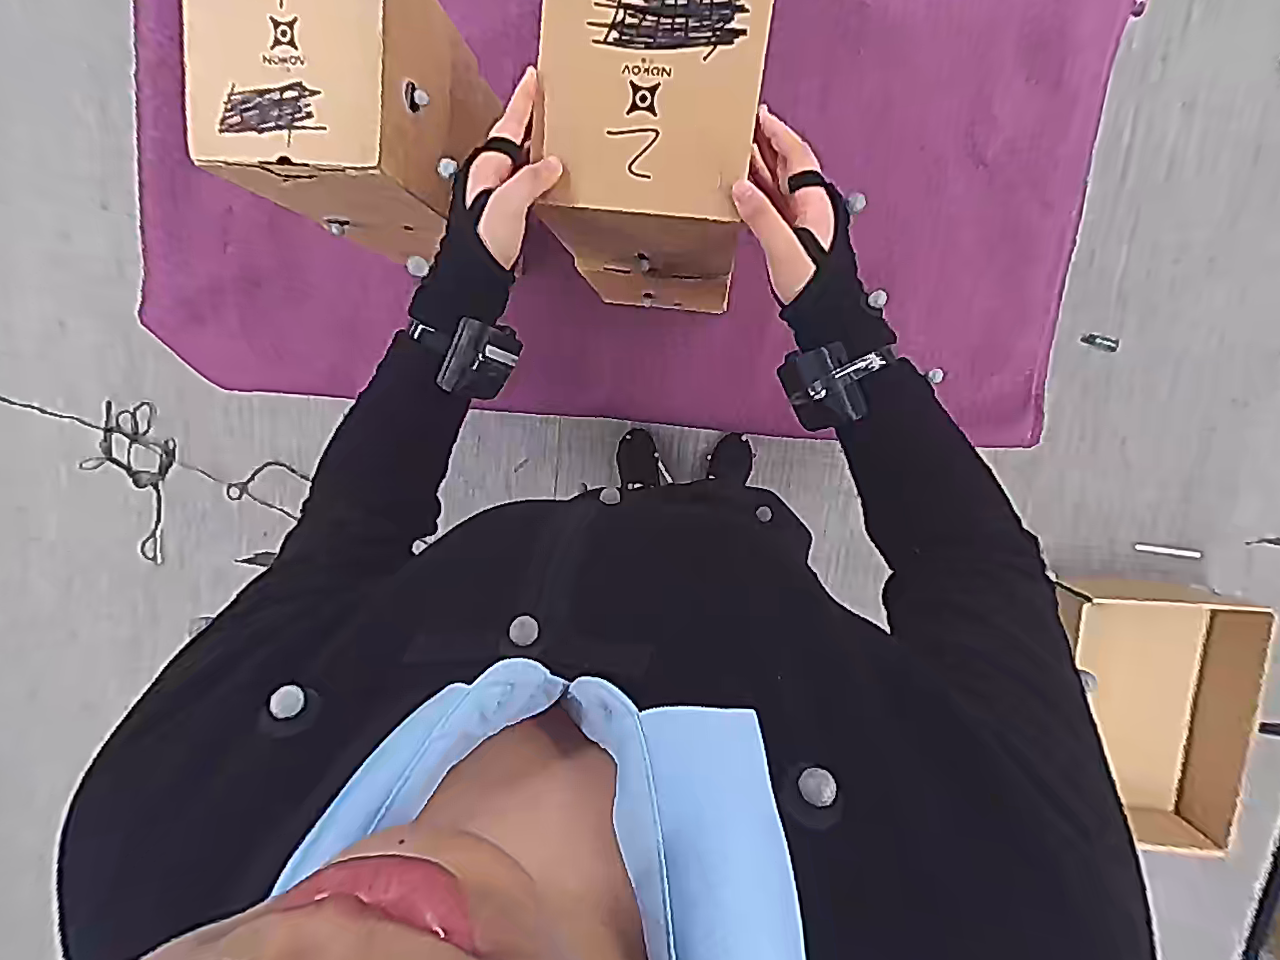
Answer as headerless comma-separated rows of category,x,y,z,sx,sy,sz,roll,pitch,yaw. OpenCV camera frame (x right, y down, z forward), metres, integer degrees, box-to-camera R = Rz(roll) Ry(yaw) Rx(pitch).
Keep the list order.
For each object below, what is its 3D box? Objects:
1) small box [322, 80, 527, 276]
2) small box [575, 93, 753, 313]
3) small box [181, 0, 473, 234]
small box,-0.247,-0.354,0.655,0.179,0.176,0.168,8,98,5
small box,0.030,-0.306,0.630,0.168,0.176,0.179,7,98,6
small box,-0.264,-0.340,0.492,0.168,0.176,0.179,6,98,5
